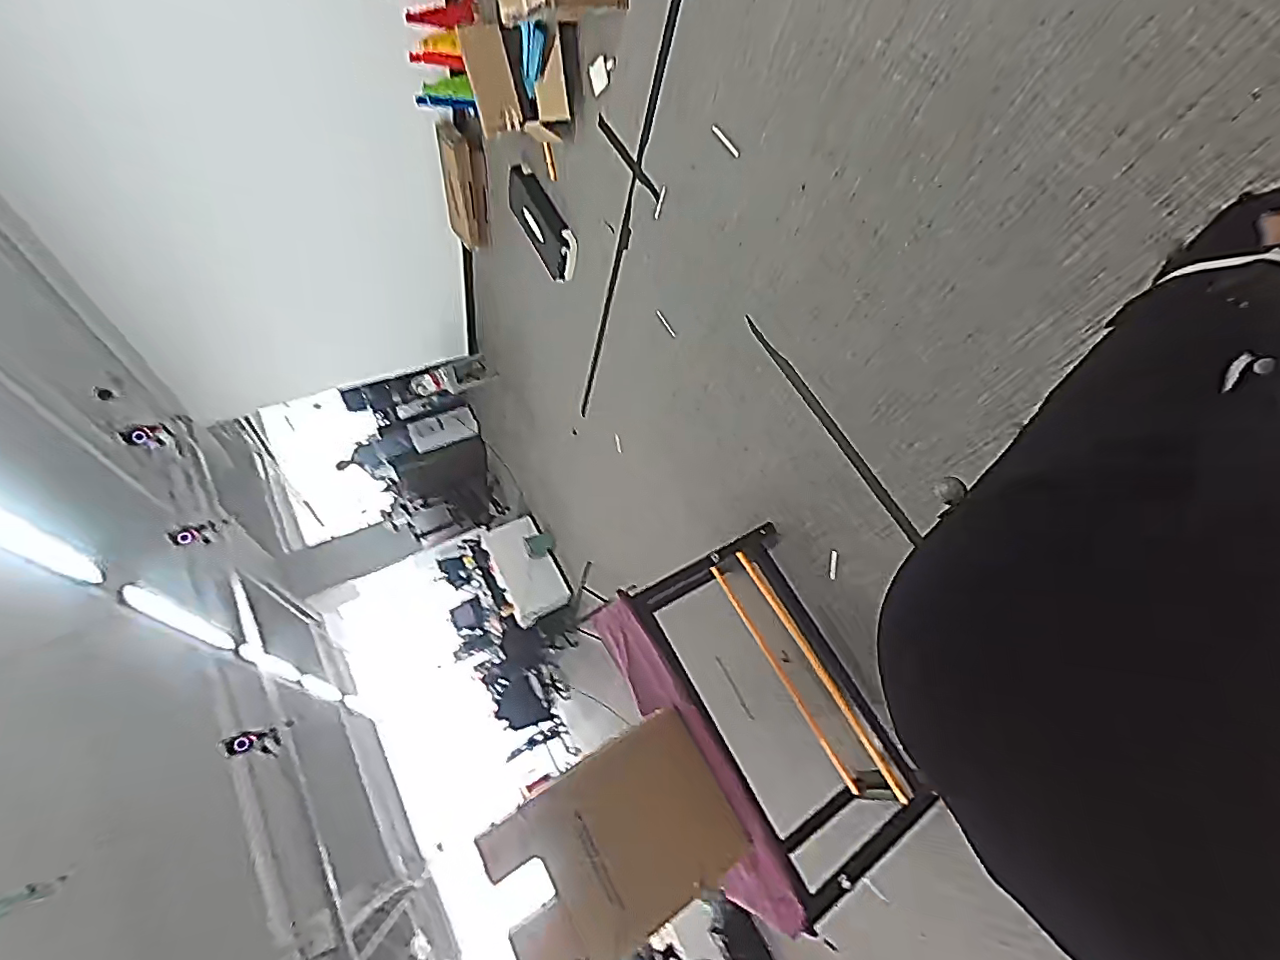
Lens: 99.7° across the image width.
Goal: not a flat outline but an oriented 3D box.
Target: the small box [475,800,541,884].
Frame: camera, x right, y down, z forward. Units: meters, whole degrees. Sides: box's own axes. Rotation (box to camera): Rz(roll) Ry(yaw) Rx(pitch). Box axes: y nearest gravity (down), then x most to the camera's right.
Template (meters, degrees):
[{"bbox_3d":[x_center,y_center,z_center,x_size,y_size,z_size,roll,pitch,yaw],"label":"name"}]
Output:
[{"bbox_3d":[-0.472,1.276,1.922,0.179,0.176,0.168,58,155,13],"label":"small box"}]
